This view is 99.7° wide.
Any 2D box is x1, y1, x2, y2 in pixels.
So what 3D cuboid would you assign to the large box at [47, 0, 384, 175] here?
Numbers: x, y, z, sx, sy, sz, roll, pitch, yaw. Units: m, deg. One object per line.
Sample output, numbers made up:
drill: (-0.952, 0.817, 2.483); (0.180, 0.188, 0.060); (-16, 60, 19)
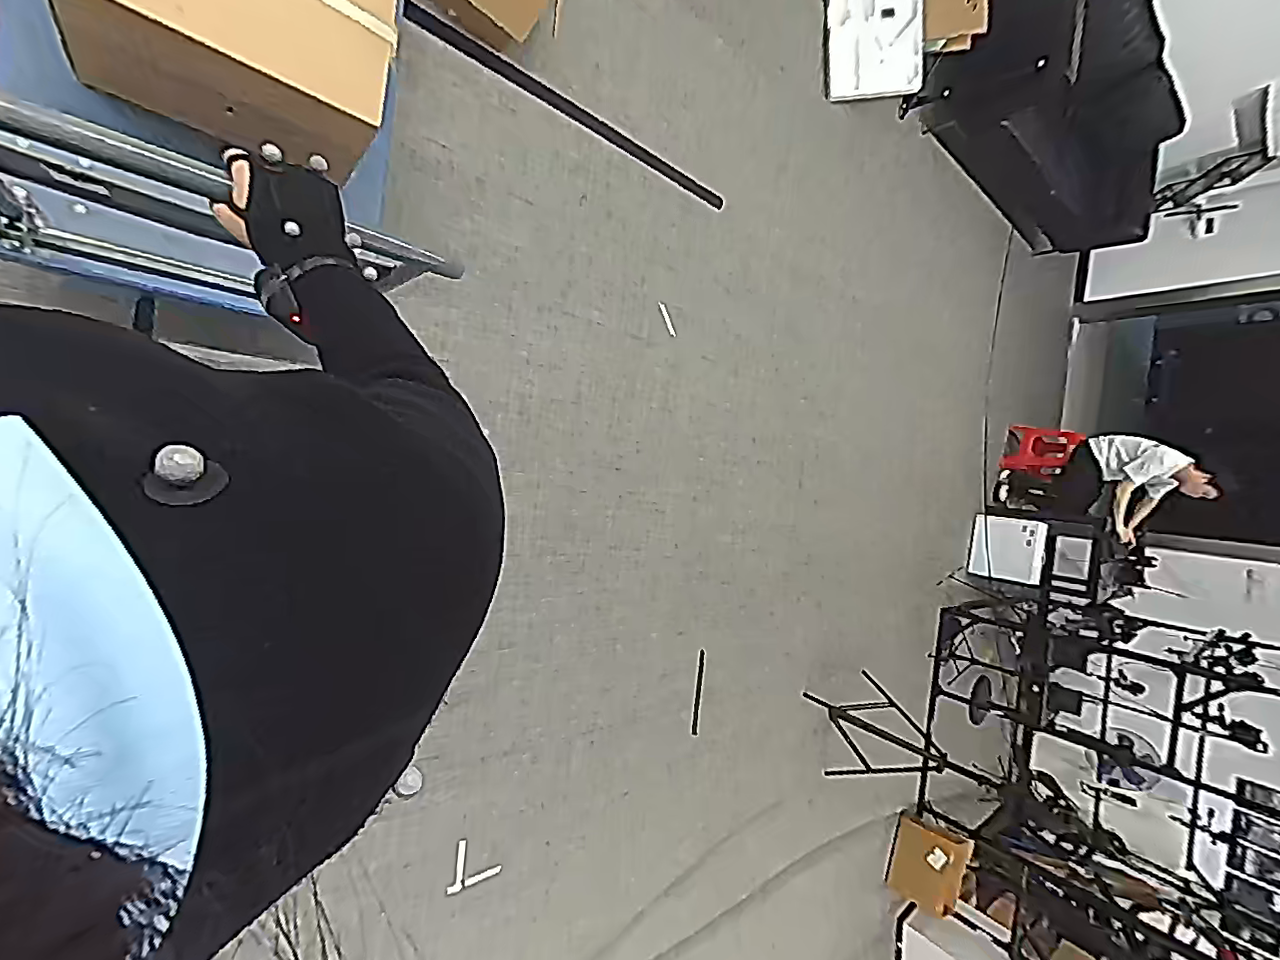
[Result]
large box: (-0.692, -0.801, 0.922); (0.408, 0.320, 0.320); (7, 90, -40)
